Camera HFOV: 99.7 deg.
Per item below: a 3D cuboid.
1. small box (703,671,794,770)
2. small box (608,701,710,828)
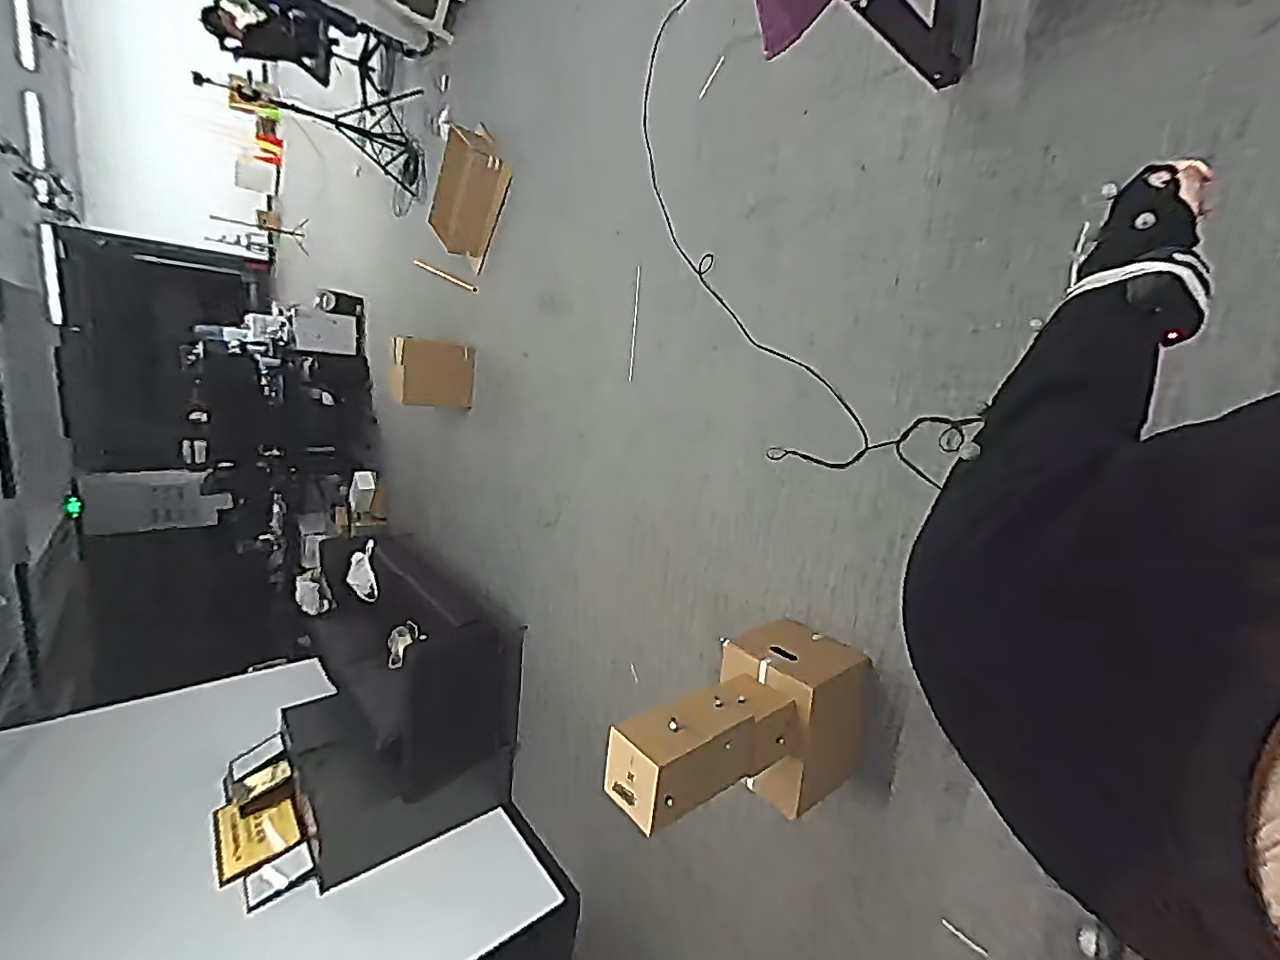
[{"bbox_3d":[0.296,0.648,1.484,0.179,0.176,0.168,14,104,47],"label":"small box"},{"bbox_3d":[0.045,0.657,1.271,0.168,0.176,0.179,18,106,46],"label":"small box"}]
